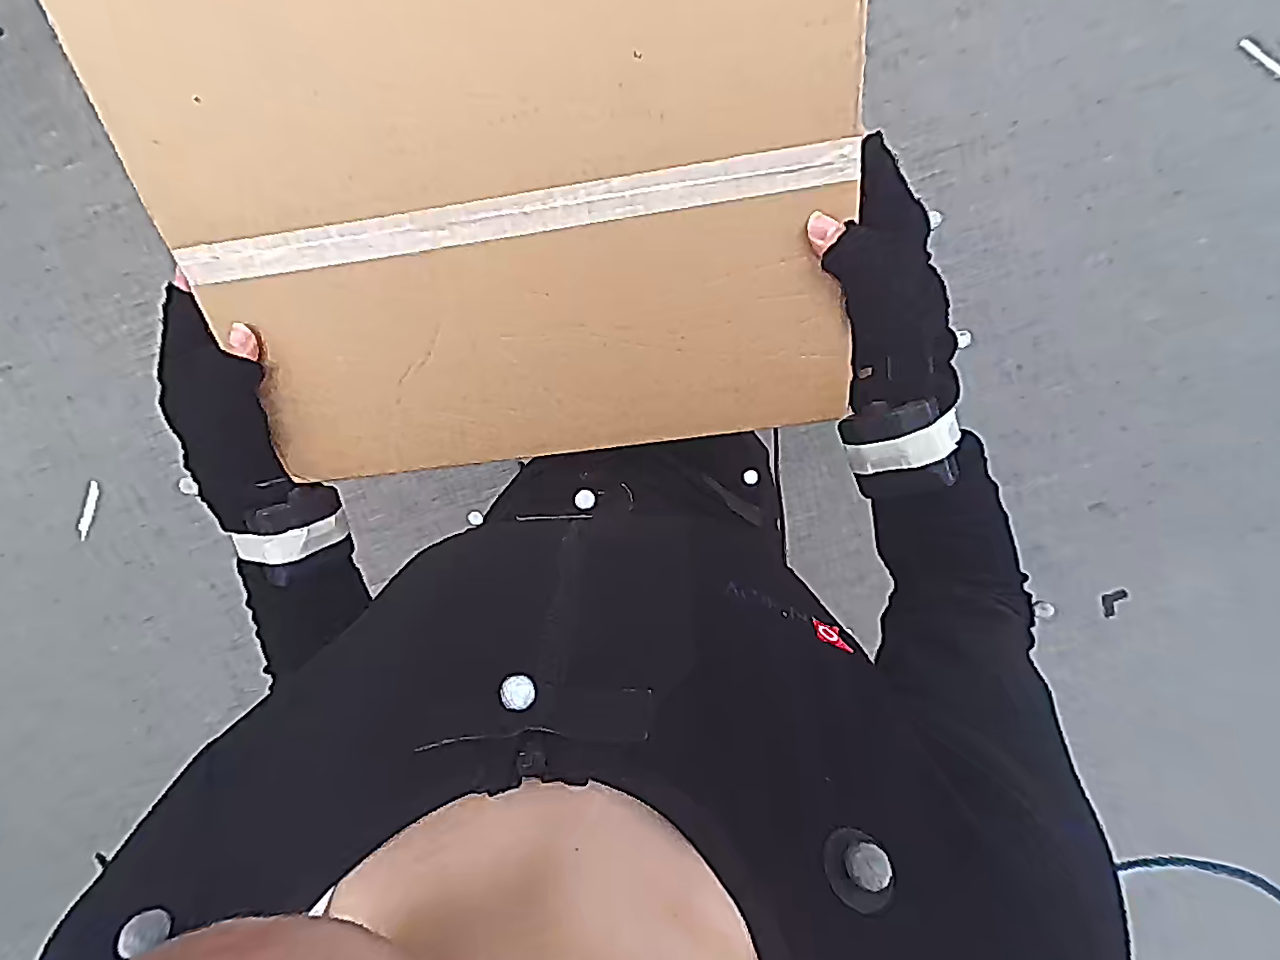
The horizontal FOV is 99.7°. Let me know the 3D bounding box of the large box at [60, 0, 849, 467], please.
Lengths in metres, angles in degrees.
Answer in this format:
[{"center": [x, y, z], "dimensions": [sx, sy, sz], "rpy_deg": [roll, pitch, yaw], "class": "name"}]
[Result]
[{"center": [-0.078, -0.239, 0.447], "dimensions": [0.408, 0.320, 0.320], "rpy_deg": [-6, 119, 4], "class": "large box"}]
